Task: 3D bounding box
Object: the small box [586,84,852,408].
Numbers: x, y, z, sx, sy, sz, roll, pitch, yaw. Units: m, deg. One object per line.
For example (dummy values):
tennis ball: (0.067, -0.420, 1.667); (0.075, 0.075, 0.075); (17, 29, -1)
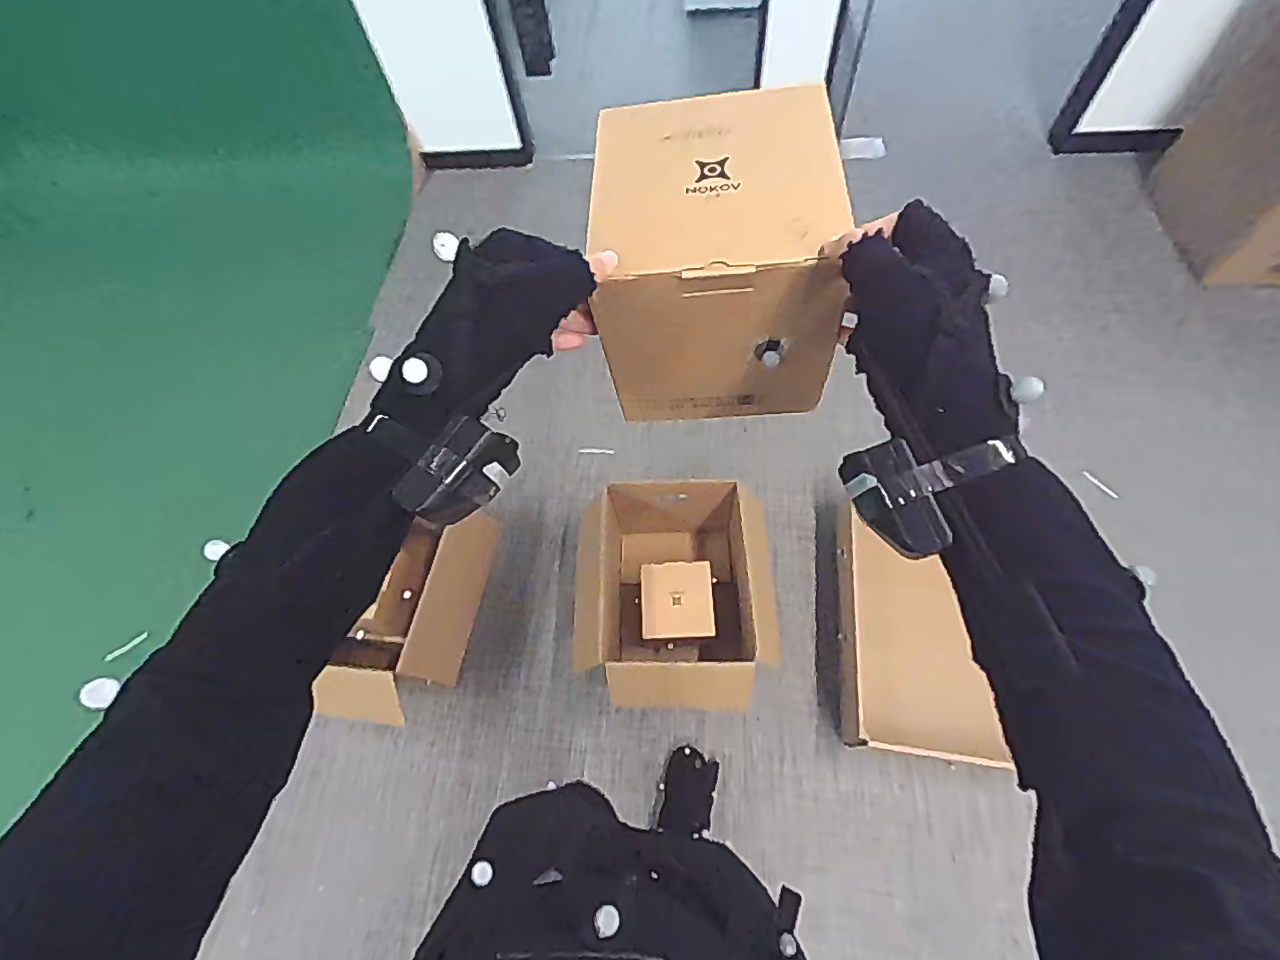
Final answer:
small box: (0.060, -0.169, 0.435); (0.168, 0.176, 0.179); (-2, 64, 7)
